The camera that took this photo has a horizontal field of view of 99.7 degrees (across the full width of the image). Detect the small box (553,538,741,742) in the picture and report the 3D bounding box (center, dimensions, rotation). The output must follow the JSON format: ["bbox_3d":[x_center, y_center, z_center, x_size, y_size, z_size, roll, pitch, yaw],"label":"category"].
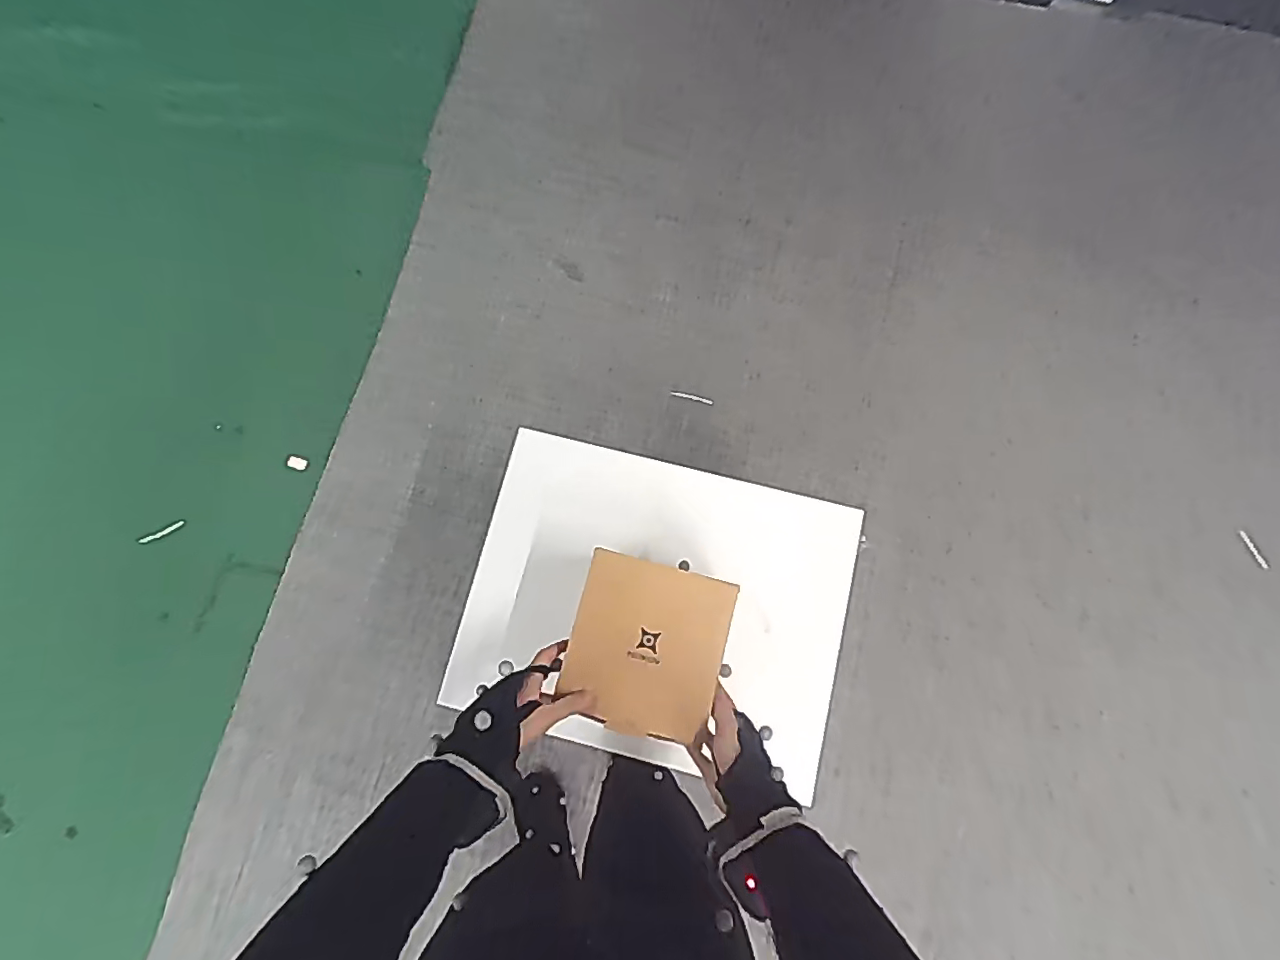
[{"bbox_3d":[0.010,0.181,0.647,0.168,0.176,0.179,15,79,4],"label":"small box"}]
